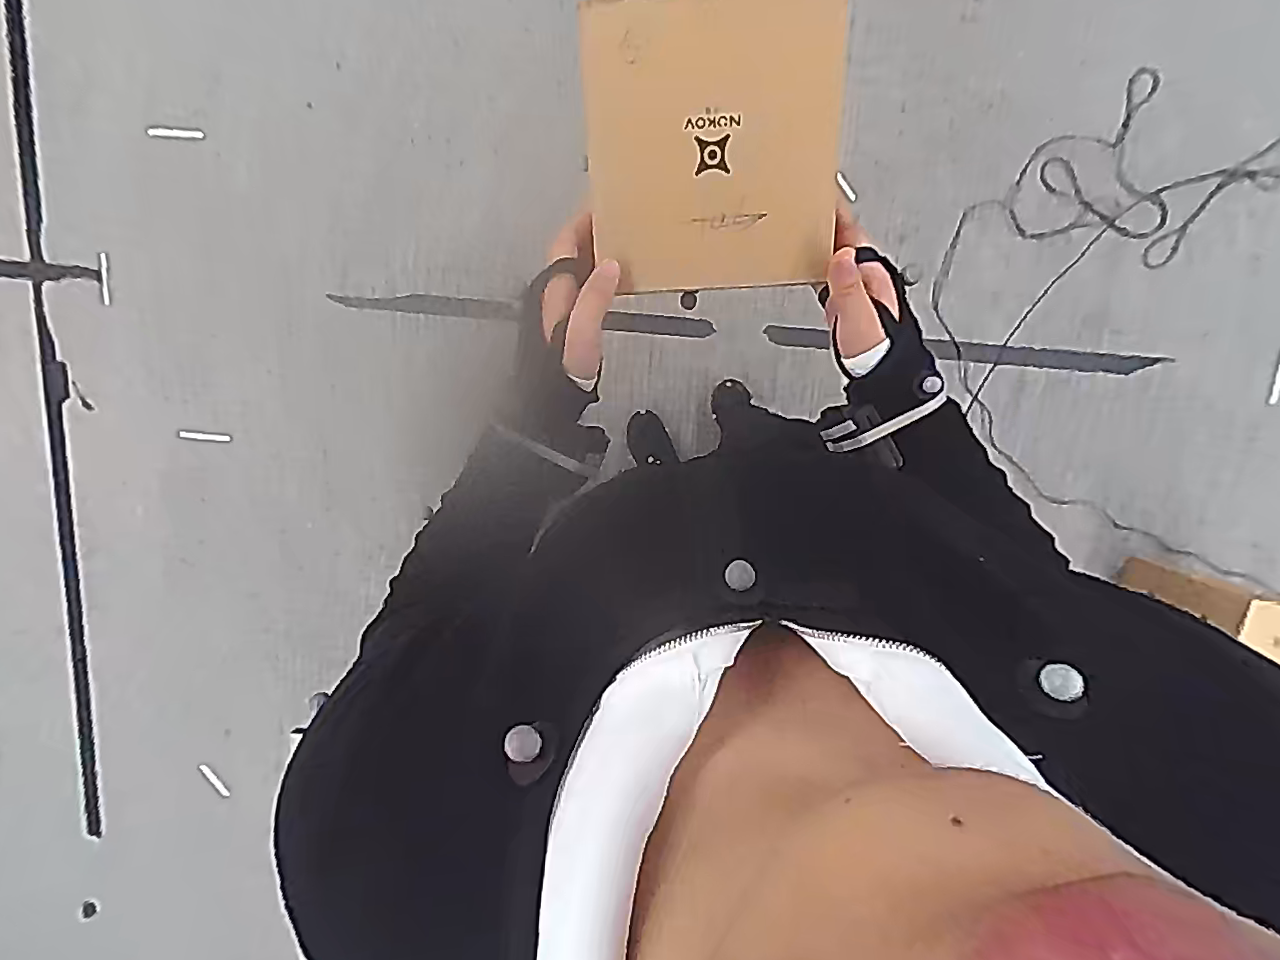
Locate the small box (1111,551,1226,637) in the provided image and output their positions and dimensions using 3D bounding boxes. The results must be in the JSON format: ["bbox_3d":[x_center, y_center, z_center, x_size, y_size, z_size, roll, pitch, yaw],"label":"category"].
[{"bbox_3d":[1.375,0.301,1.392,0.168,0.176,0.179,13,98,1],"label":"small box"}]

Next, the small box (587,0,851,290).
[{"bbox_3d":[0.052,-0.247,0.430,0.168,0.176,0.179,-2,110,3],"label":"small box"}]

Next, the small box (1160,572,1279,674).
[{"bbox_3d":[1.358,0.319,1.229,0.179,0.176,0.168,9,100,1],"label":"small box"}]
